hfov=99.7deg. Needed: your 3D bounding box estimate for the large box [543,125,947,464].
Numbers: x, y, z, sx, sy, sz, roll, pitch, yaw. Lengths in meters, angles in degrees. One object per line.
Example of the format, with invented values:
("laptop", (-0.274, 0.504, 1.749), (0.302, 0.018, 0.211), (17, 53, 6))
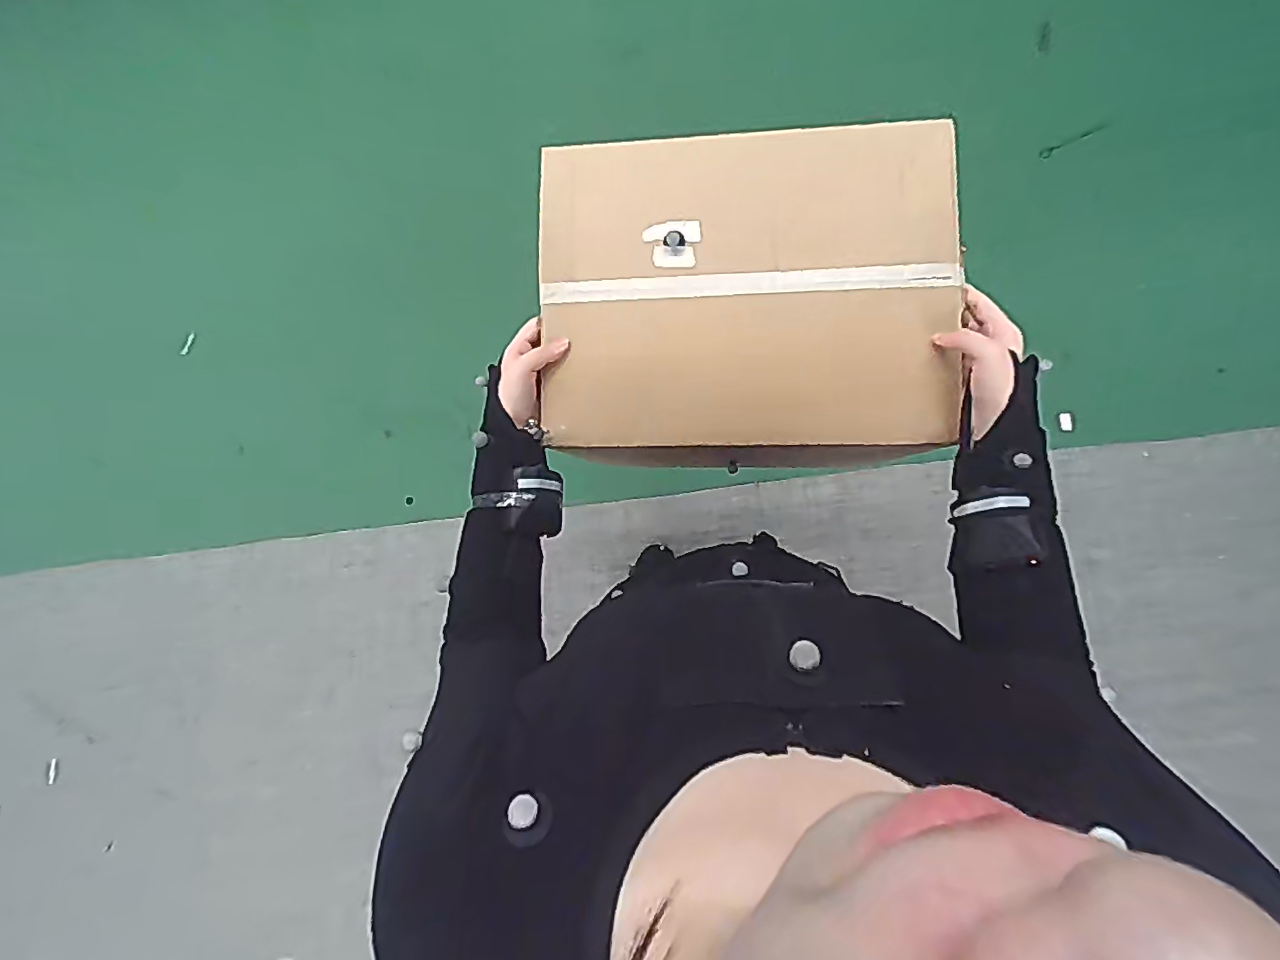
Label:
("large box", (0.116, -0.184, 0.692), (0.408, 0.320, 0.320), (0, 87, 8))
